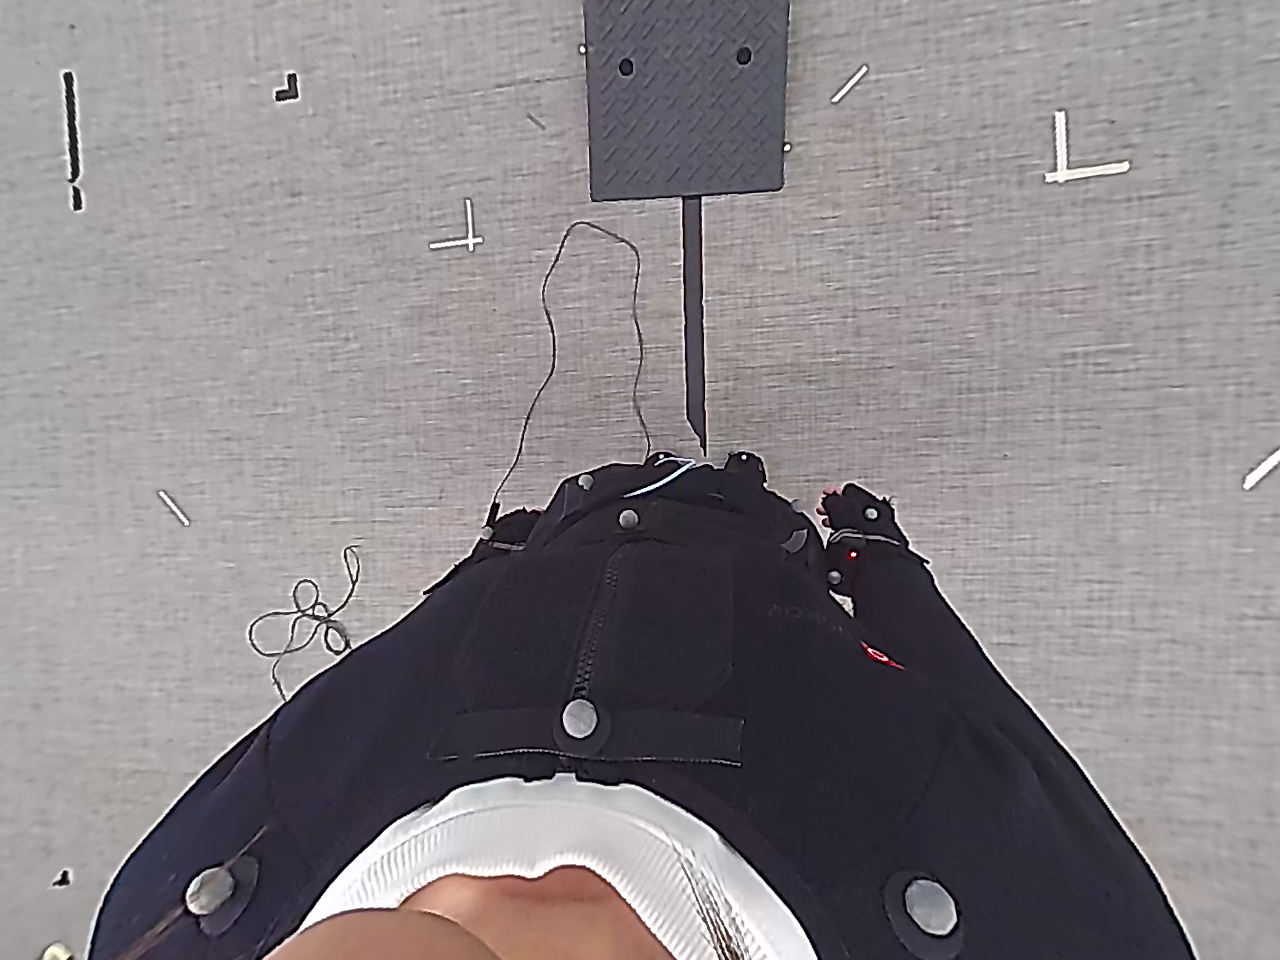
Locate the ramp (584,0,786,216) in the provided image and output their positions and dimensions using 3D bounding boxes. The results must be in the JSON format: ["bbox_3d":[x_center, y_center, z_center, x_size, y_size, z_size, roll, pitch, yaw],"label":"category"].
[{"bbox_3d":[0.103,-1.194,1.304,0.509,0.206,0.991,-2,93,8],"label":"ramp"}]
